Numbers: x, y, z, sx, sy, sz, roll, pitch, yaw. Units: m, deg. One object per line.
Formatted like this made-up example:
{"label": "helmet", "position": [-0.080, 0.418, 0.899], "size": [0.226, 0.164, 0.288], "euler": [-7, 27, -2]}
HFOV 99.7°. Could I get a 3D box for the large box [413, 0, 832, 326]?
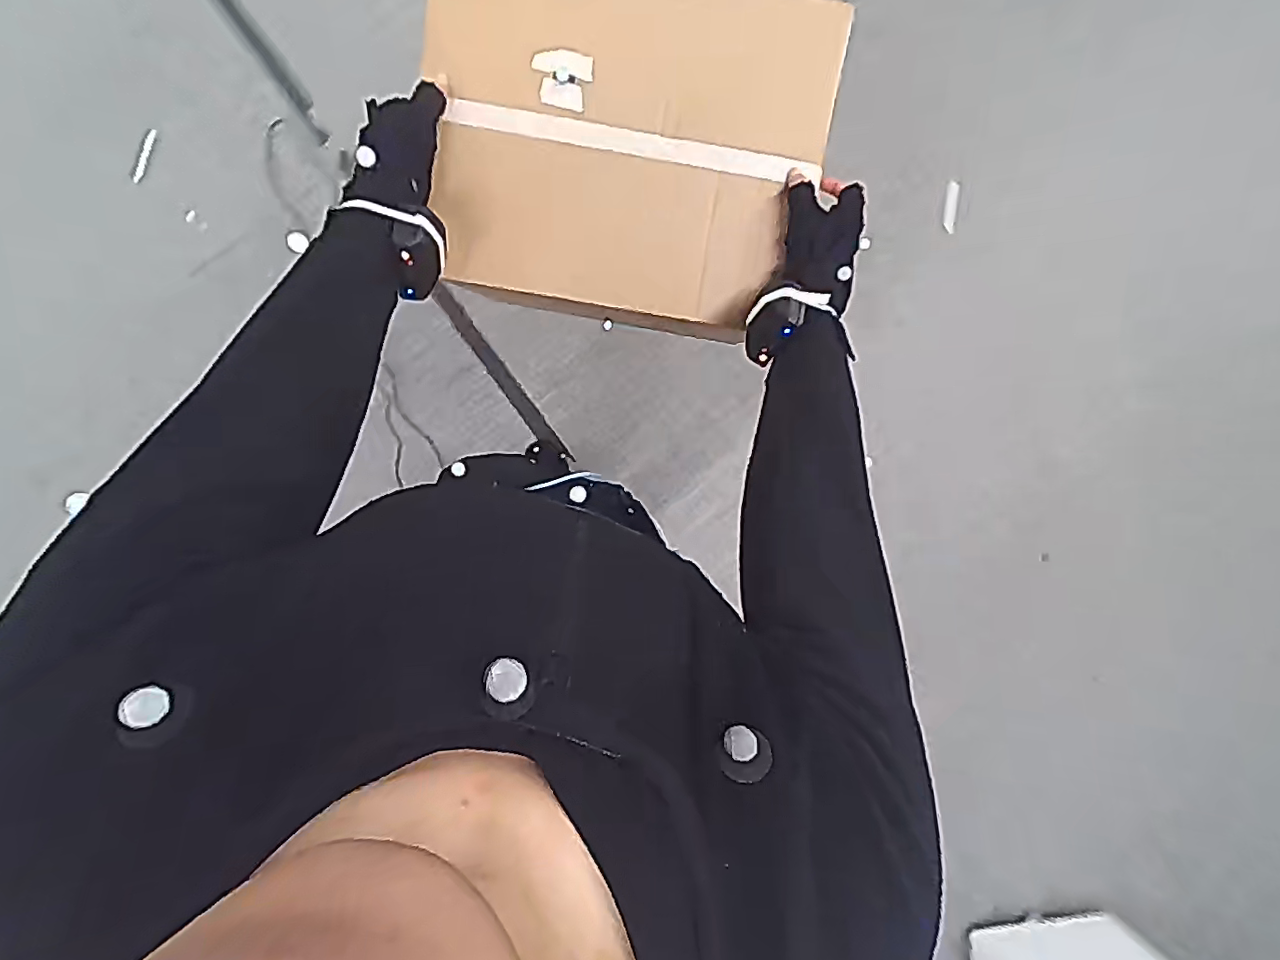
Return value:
{"label": "large box", "position": [-0.026, -0.382, 0.695], "size": [0.408, 0.320, 0.320], "euler": [8, 102, -2]}
